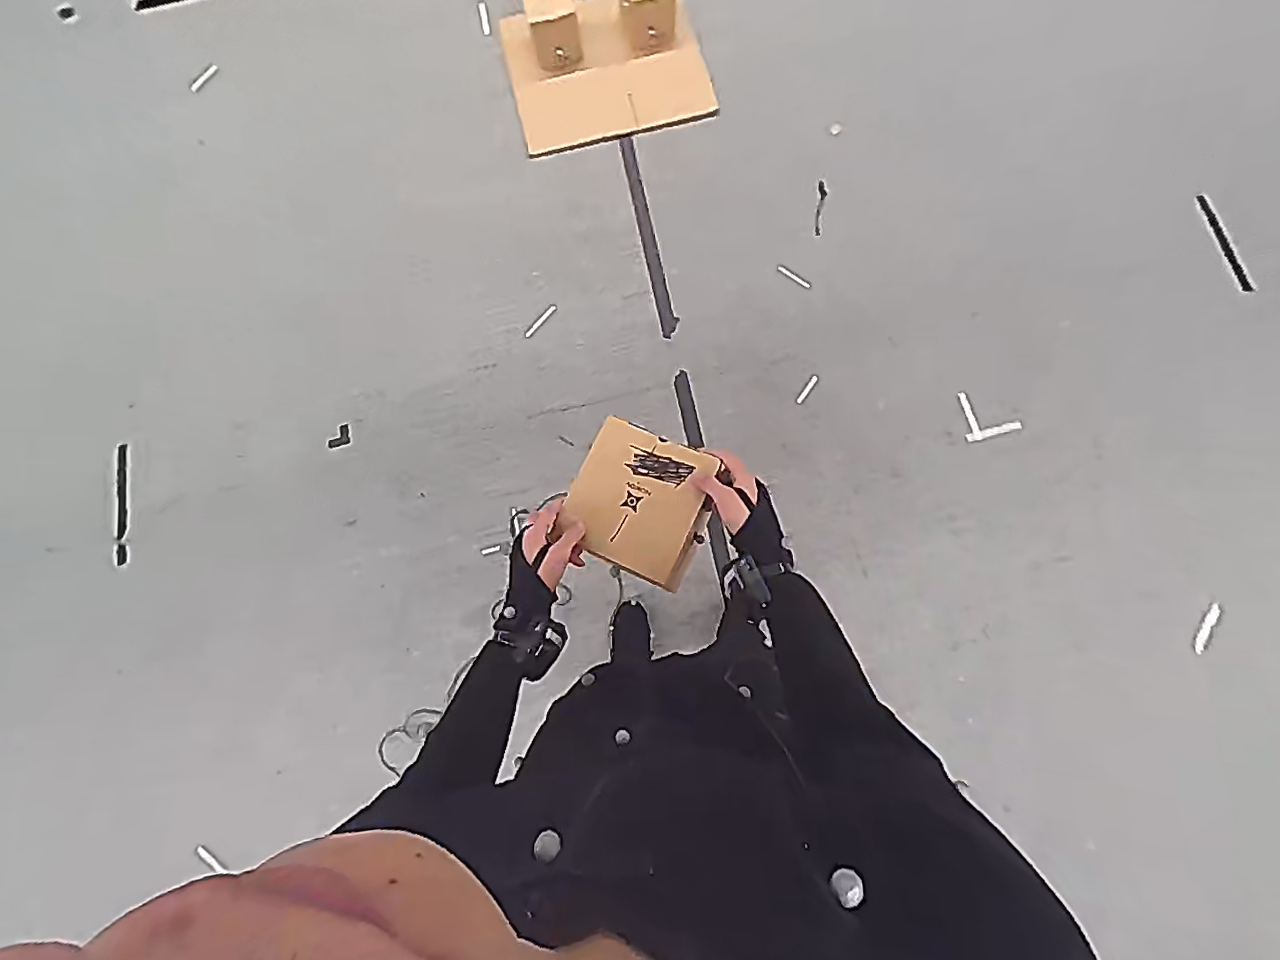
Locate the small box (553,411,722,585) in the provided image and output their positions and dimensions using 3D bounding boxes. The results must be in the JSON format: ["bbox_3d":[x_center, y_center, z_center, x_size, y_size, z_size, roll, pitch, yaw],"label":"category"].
[{"bbox_3d":[0.005,0.034,0.761,0.168,0.176,0.179,23,80,13],"label":"small box"}]

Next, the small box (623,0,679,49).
[{"bbox_3d":[0.035,-1.694,1.920,0.168,0.176,0.179,-17,79,-1],"label":"small box"}]

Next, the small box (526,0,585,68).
[{"bbox_3d":[-0.300,-1.617,1.912,0.168,0.176,0.179,-14,79,0],"label":"small box"}]
